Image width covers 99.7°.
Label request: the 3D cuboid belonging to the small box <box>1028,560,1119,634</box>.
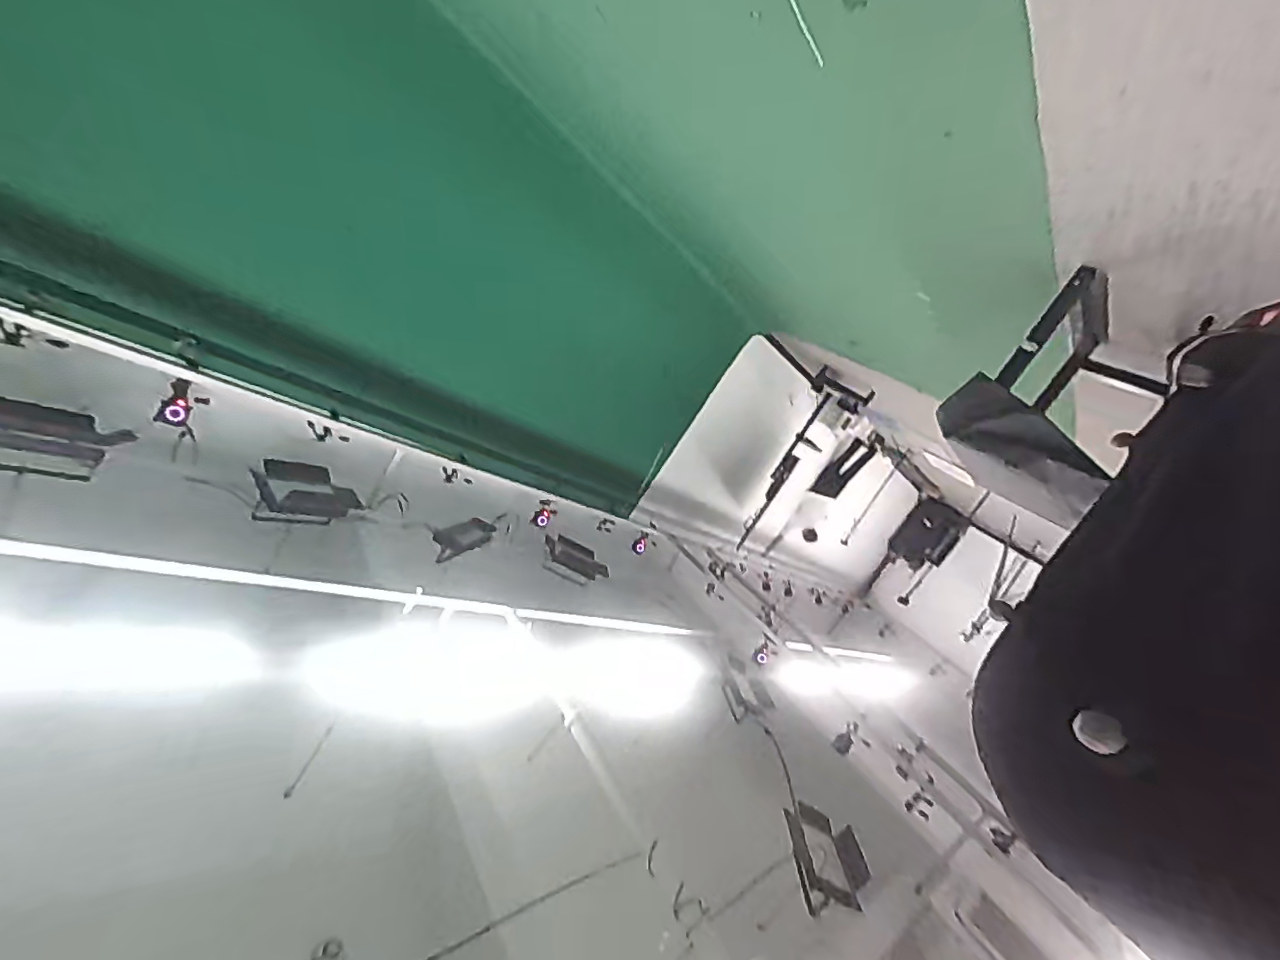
[{"bbox_3d":[1.429,0.383,1.787,0.179,0.176,0.168,41,-167,33],"label":"small box"}]
